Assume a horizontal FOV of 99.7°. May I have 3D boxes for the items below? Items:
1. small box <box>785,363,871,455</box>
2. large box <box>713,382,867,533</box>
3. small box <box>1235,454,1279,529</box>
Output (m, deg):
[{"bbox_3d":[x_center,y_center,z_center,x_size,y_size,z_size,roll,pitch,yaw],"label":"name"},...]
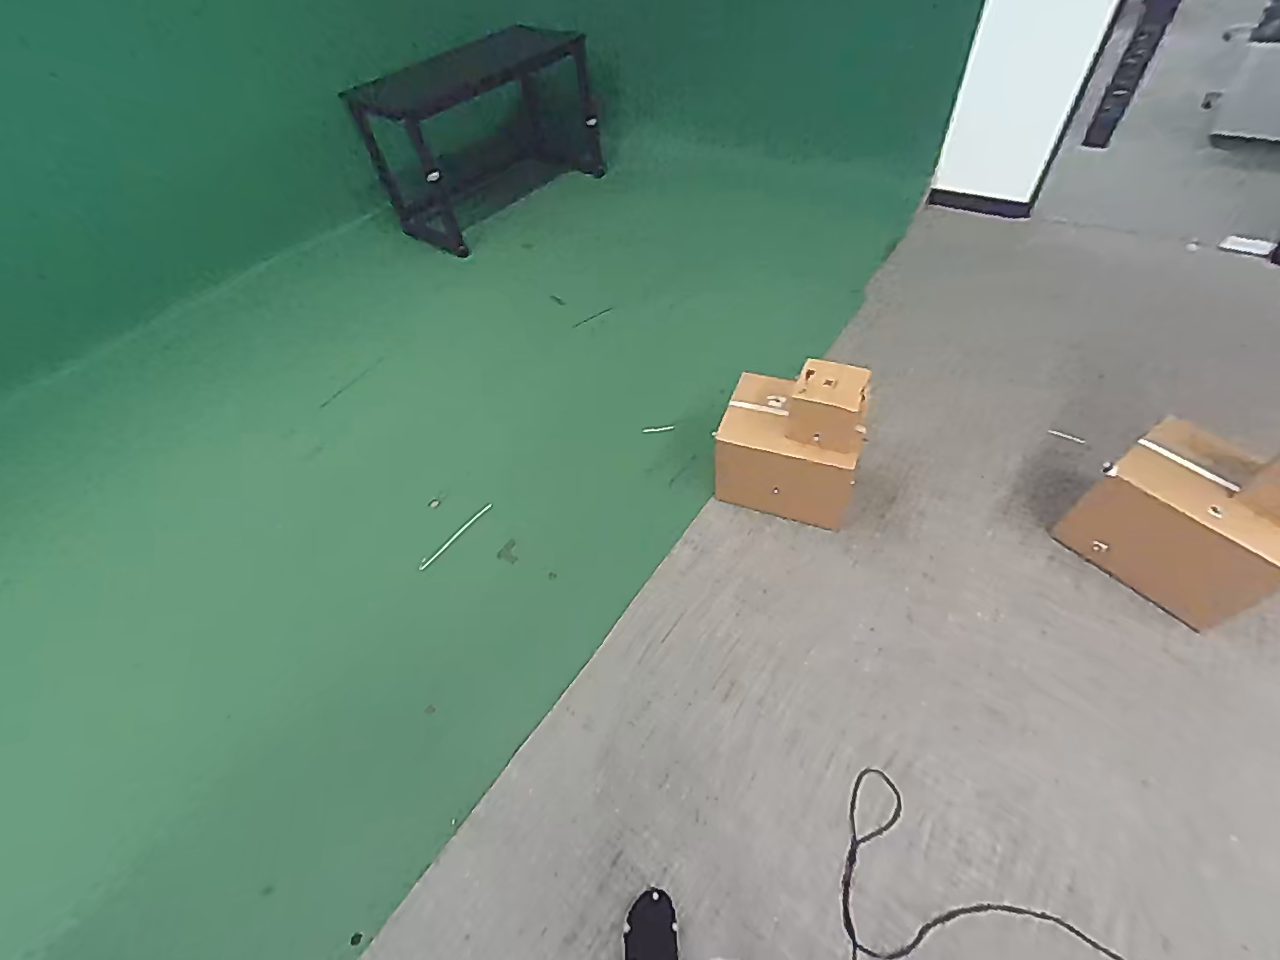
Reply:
[{"bbox_3d":[0.517,-0.193,1.505,0.179,0.176,0.168,18,56,21],"label":"small box"},{"bbox_3d":[0.474,-0.073,1.732,0.408,0.320,0.320,14,53,19],"label":"large box"},{"bbox_3d":[1.514,0.009,1.208,0.179,0.176,0.168,-30,53,-18],"label":"small box"}]
